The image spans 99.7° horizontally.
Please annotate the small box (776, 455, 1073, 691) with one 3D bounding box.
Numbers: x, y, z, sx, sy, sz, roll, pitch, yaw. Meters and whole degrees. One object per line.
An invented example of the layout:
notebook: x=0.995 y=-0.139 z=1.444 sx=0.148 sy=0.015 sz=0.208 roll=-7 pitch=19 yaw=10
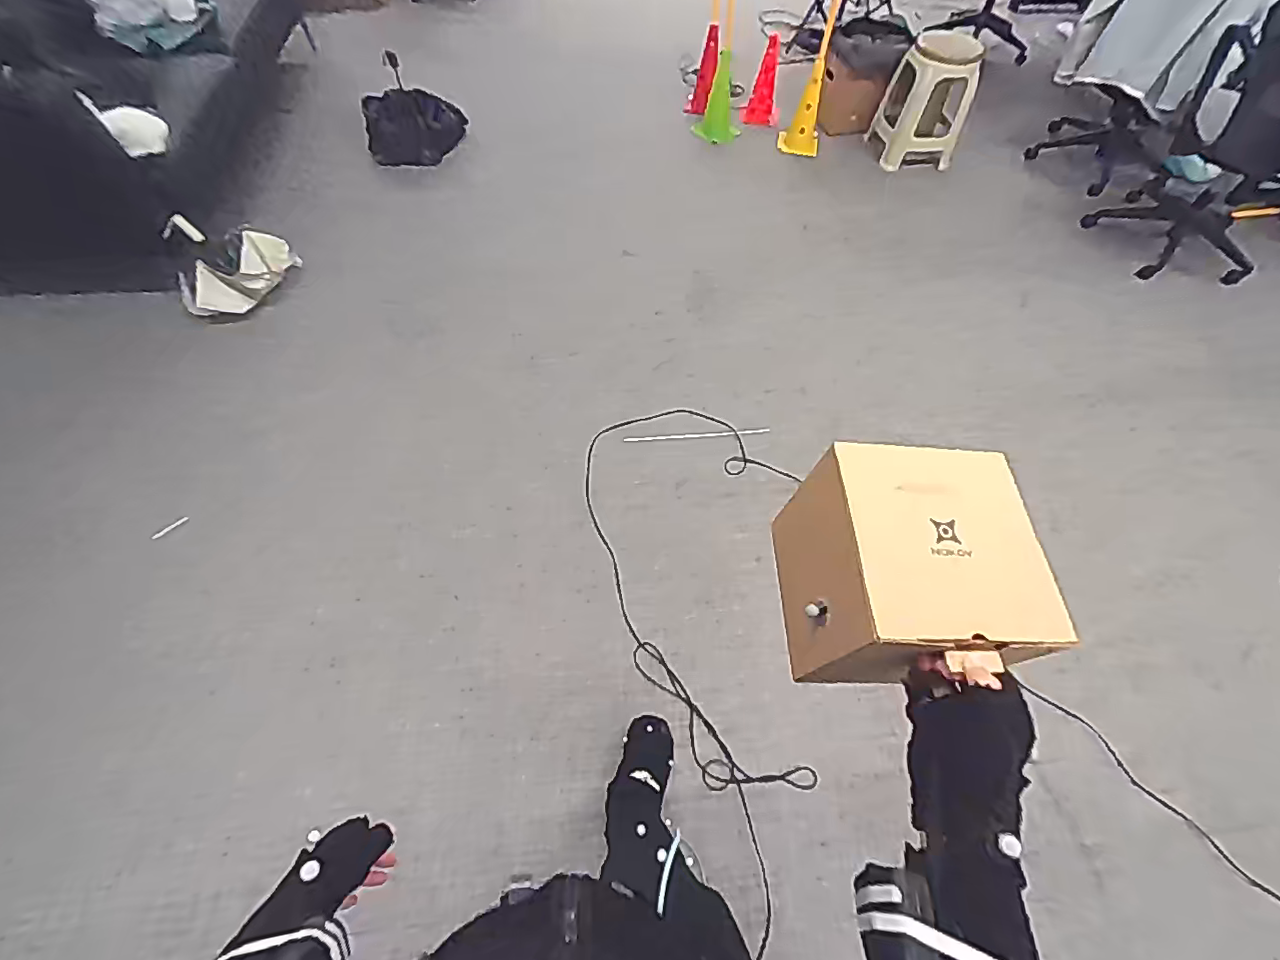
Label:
small box: x=0.241 y=0.097 z=0.514 sx=0.168 sy=0.176 sz=0.179 roll=4 pitch=59 yaw=-6
